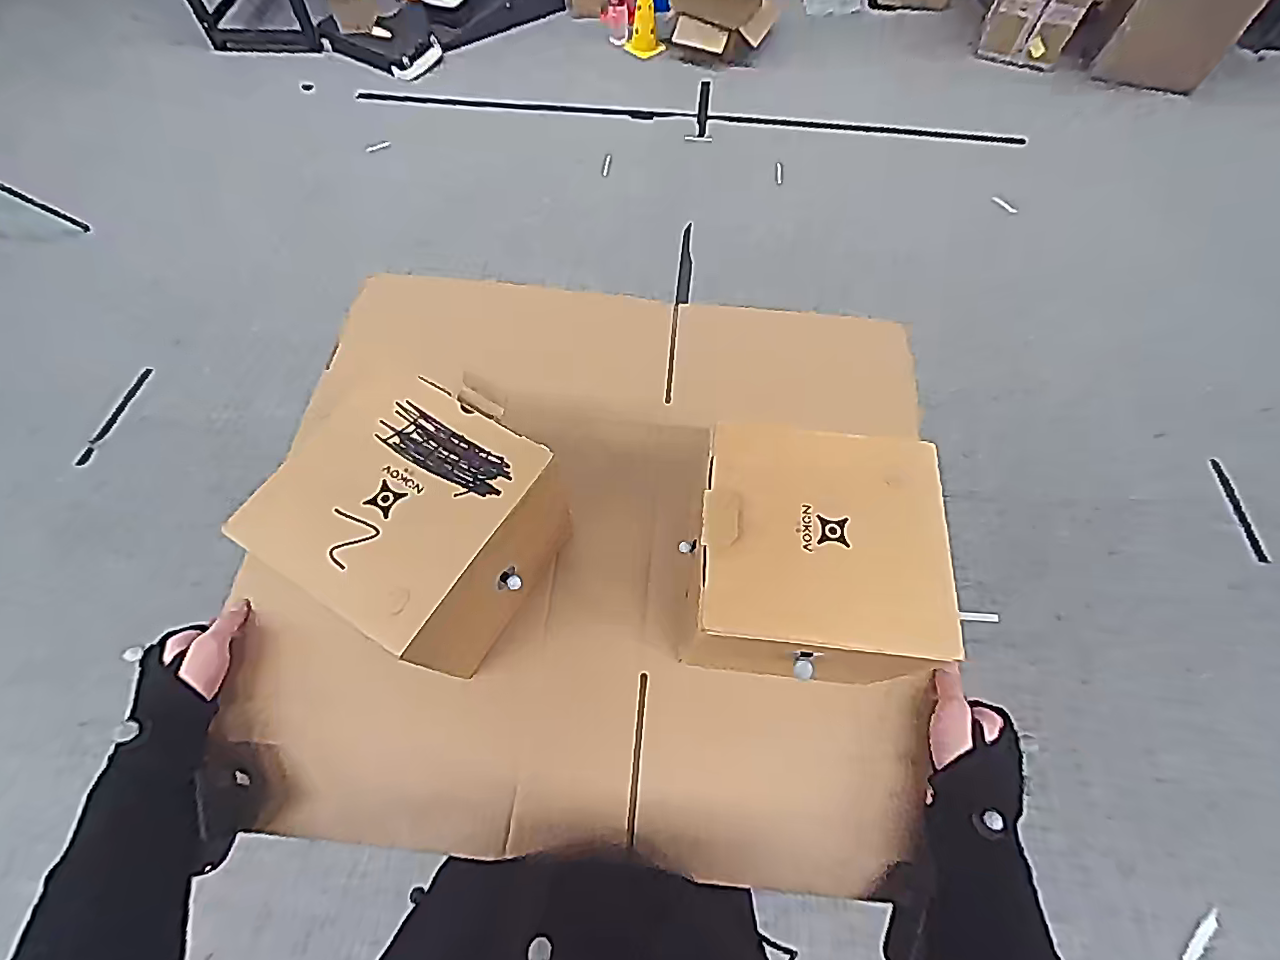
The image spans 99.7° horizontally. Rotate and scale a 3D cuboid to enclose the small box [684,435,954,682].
[{"bbox_3d":[0.138,0.080,0.478,0.179,0.176,0.168,6,64,3],"label":"small box"}]
